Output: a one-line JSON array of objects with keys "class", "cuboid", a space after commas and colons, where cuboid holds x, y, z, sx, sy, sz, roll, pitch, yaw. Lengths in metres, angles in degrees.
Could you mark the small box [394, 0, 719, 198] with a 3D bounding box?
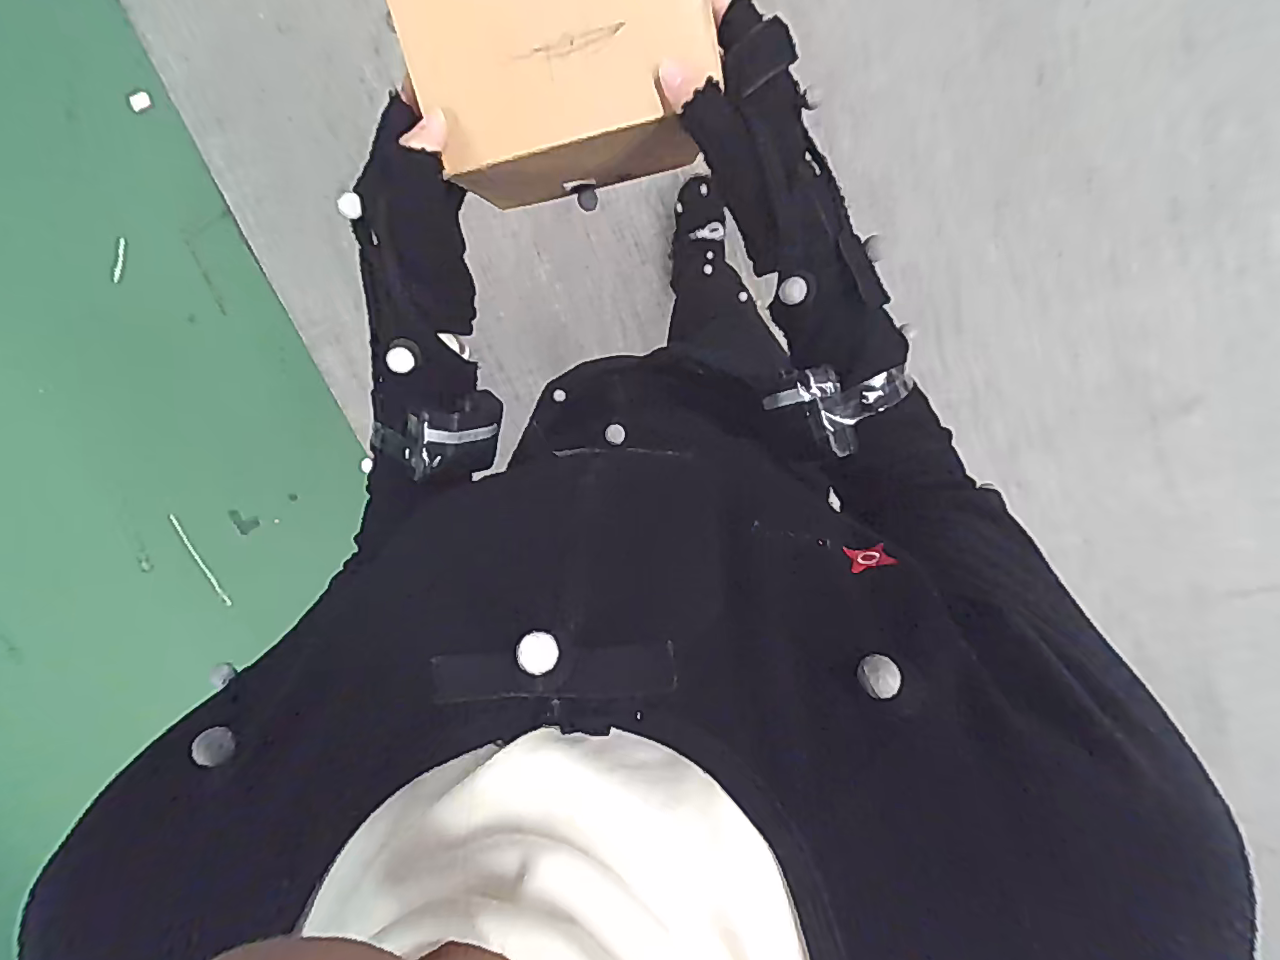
[{"class": "small box", "cuboid": [-0.054, -0.306, 0.351, 0.168, 0.176, 0.179, -12, 110, 4]}]
